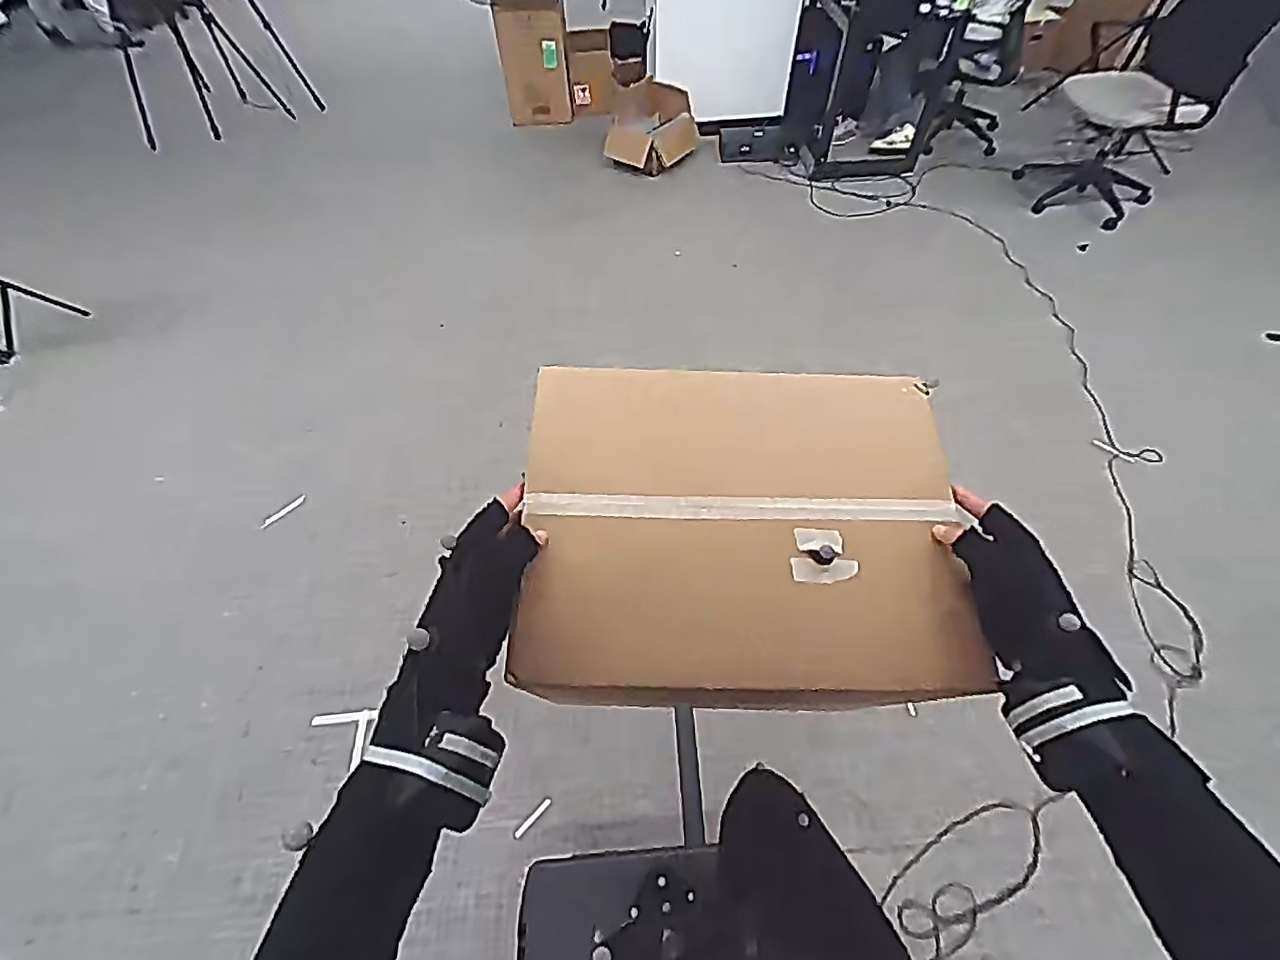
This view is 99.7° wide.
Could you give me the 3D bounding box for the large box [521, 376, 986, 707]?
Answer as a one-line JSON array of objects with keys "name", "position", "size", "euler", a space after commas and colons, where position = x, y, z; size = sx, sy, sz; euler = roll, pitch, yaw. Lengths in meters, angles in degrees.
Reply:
[{"name": "large box", "position": [0.090, 0.094, 0.648], "size": [0.408, 0.320, 0.320], "euler": [1, 65, -2]}]
